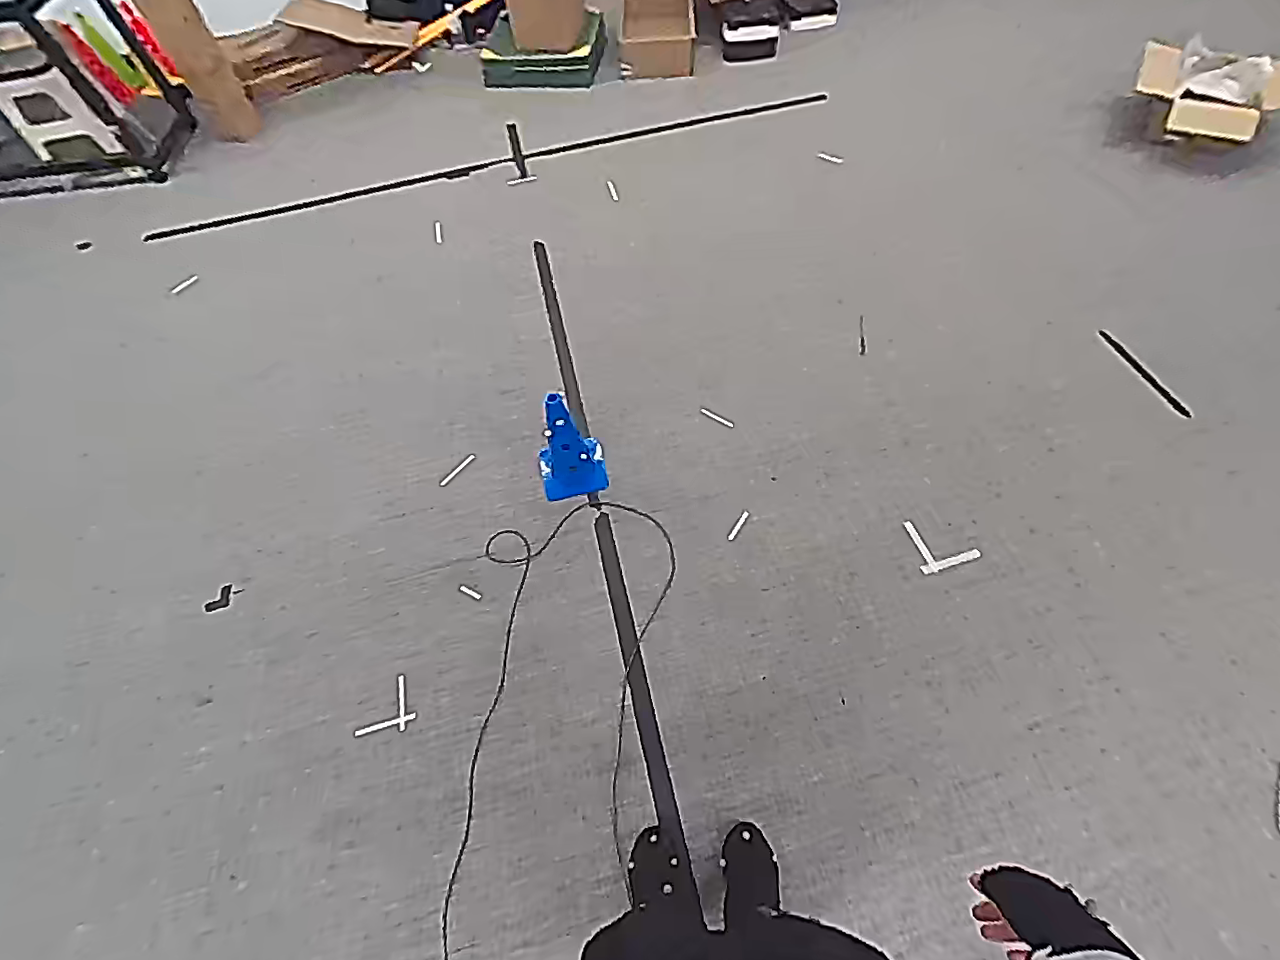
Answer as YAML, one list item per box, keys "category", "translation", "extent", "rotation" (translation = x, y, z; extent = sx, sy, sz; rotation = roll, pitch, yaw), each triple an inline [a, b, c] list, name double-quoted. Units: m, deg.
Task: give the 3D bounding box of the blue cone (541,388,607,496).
- category: "blue cone"
  translation: [-0.217, -0.124, 1.548]
  extent: [0.193, 0.380, 0.192]
  rotation: [-15, 60, -4]
